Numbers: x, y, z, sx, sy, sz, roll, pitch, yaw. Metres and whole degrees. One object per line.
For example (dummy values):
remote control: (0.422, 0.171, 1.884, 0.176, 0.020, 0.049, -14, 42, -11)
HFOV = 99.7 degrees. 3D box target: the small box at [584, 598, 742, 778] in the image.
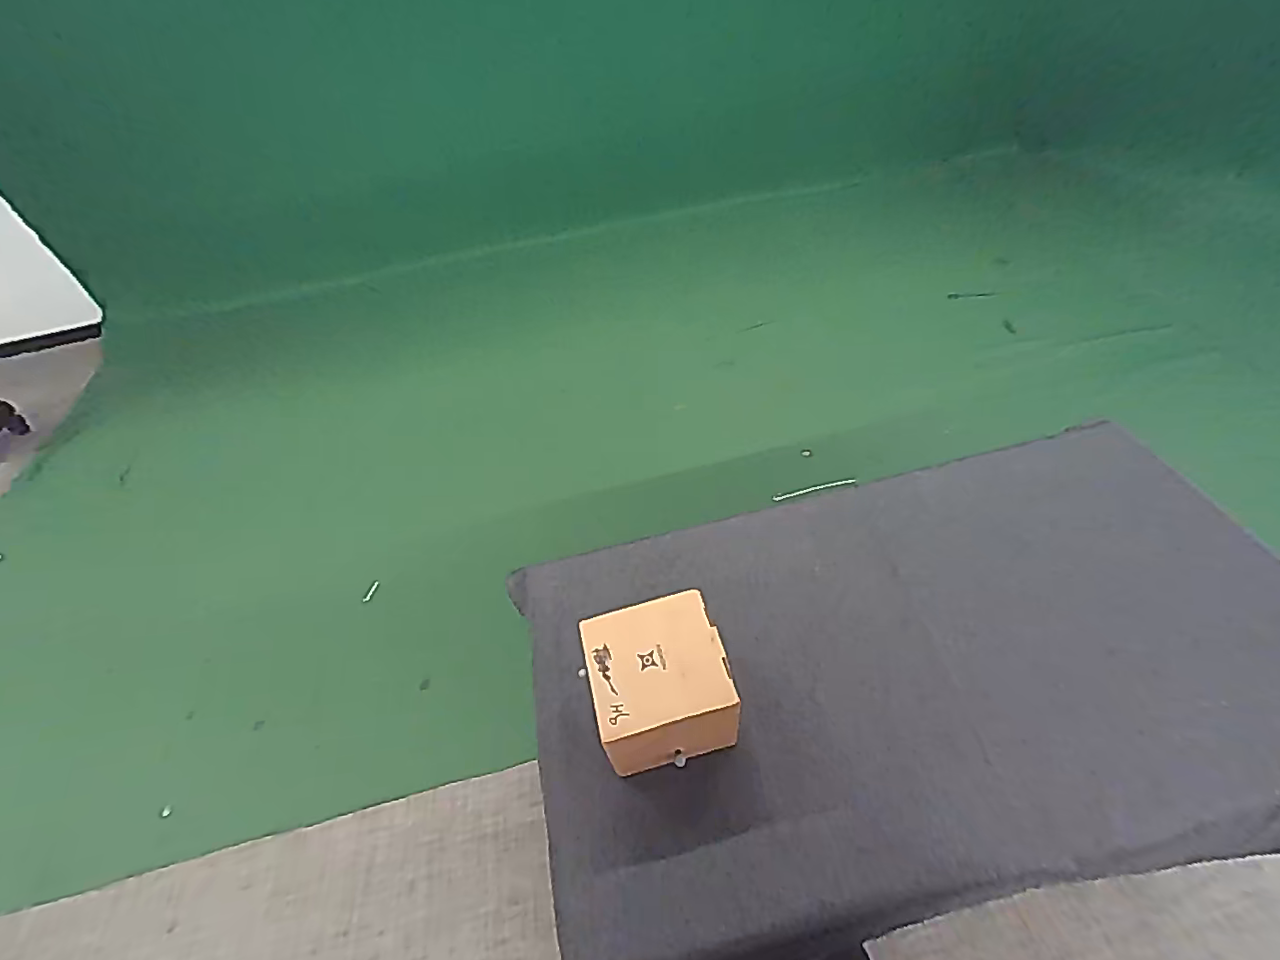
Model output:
small box: (0.029, 0.295, 0.761, 0.179, 0.176, 0.168, -13, 48, -5)
